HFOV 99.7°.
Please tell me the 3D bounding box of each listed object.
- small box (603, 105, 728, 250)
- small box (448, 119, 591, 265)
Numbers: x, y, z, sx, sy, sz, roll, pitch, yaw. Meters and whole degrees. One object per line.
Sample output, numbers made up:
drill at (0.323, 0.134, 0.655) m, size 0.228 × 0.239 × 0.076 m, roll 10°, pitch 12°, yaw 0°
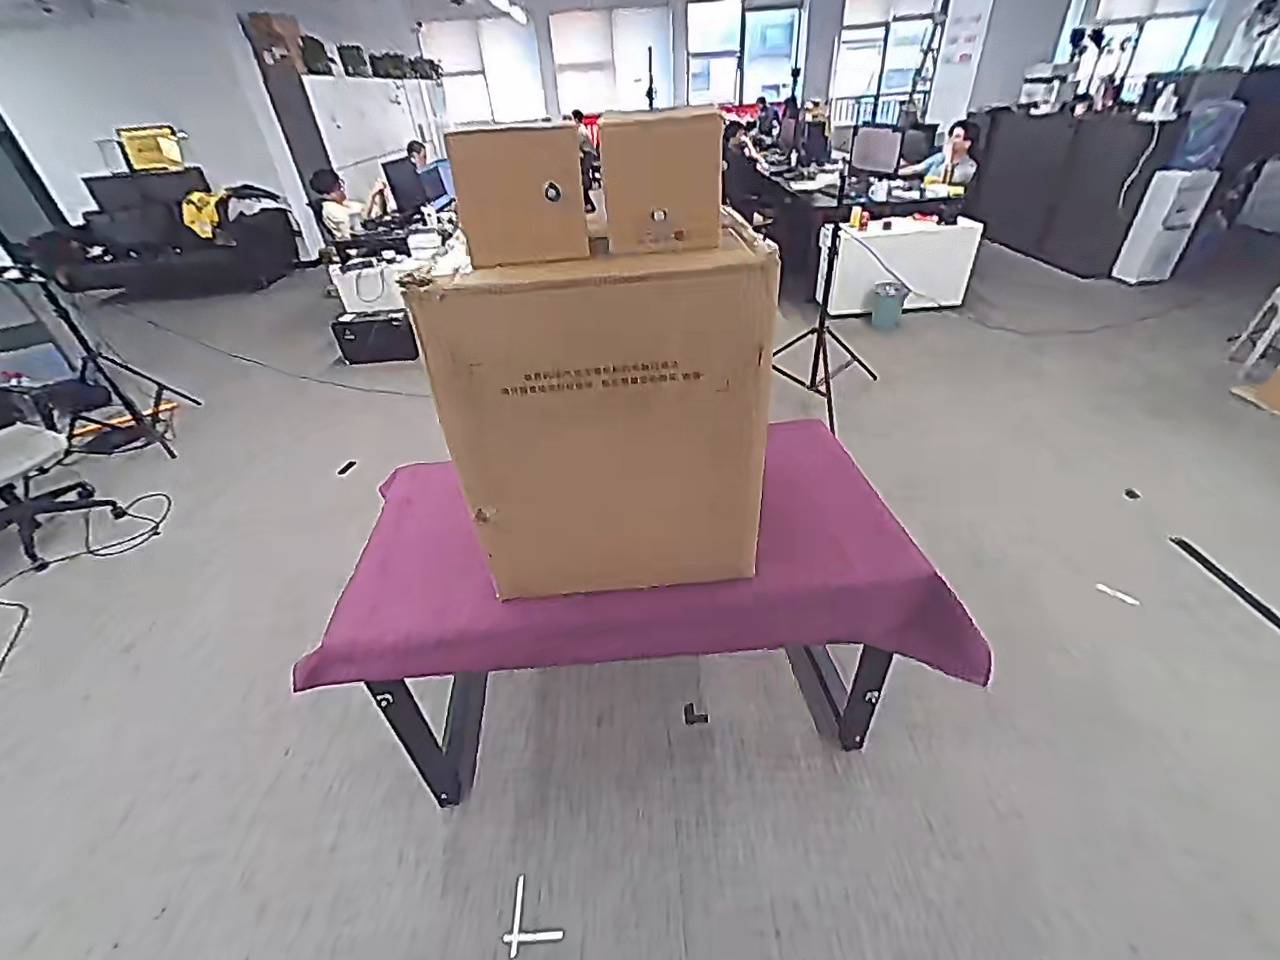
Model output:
small box at (0.040, -0.456, 0.817) m, size 0.168 × 0.176 × 0.179 m, roll -3°, pitch 37°, yaw 4°
small box at (-0.167, -0.431, 0.805) m, size 0.179 × 0.176 × 0.168 m, roll -8°, pitch 35°, yaw -5°
